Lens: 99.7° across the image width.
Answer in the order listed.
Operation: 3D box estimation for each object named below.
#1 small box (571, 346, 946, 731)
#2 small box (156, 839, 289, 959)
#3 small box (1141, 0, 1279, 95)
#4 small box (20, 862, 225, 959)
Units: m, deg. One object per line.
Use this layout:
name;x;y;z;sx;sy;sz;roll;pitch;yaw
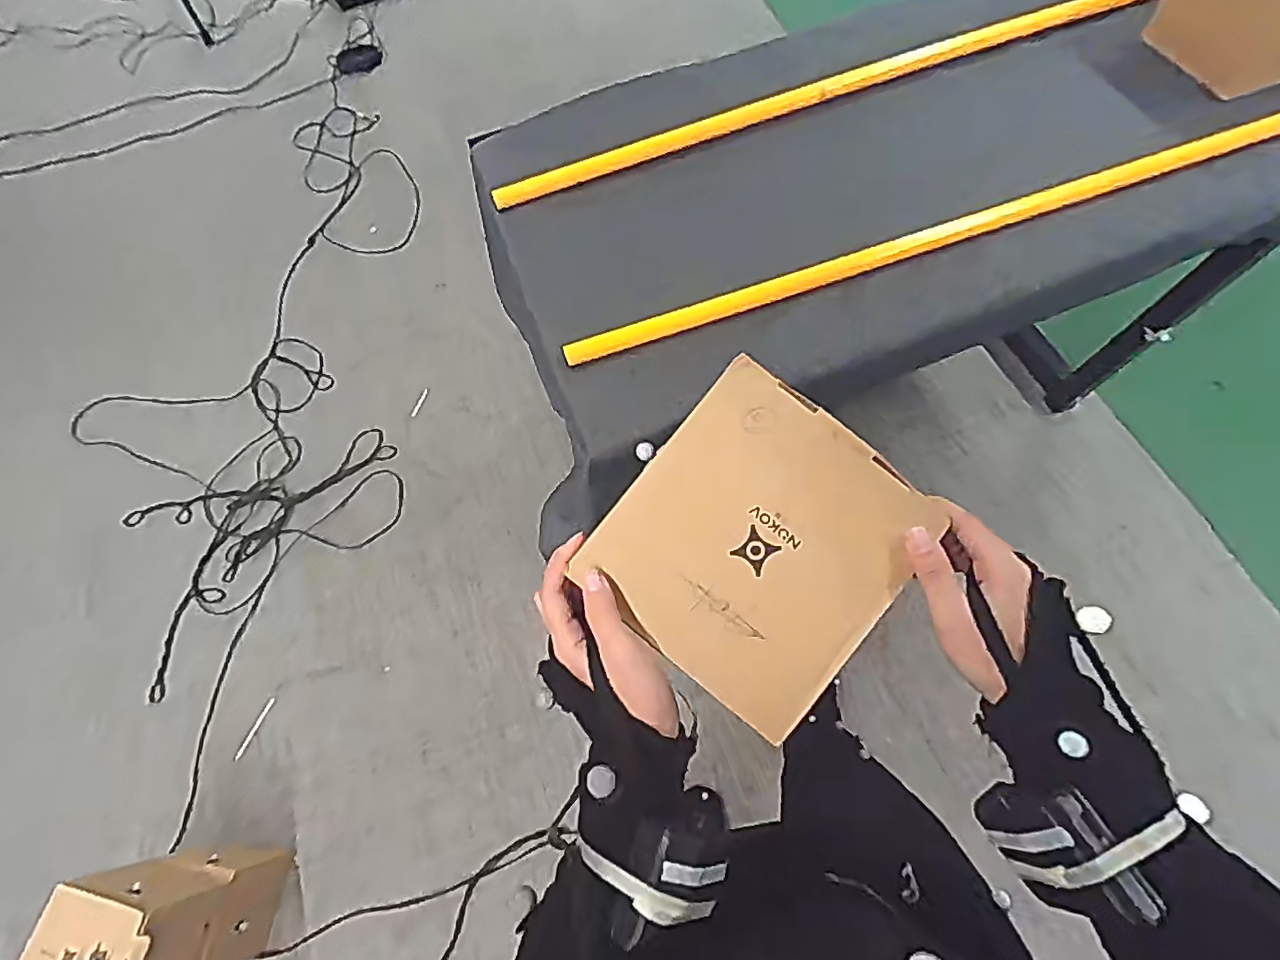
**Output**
small box;0.071;0.037;0.405;0.168;0.176;0.179;38;87;3
small box;-0.821;0.819;1.037;0.168;0.176;0.179;4;67;7
small box;0.858;-0.658;0.727;0.168;0.176;0.179;-20;66;-3
small box;-0.846;0.756;0.886;0.179;0.176;0.168;9;67;10
